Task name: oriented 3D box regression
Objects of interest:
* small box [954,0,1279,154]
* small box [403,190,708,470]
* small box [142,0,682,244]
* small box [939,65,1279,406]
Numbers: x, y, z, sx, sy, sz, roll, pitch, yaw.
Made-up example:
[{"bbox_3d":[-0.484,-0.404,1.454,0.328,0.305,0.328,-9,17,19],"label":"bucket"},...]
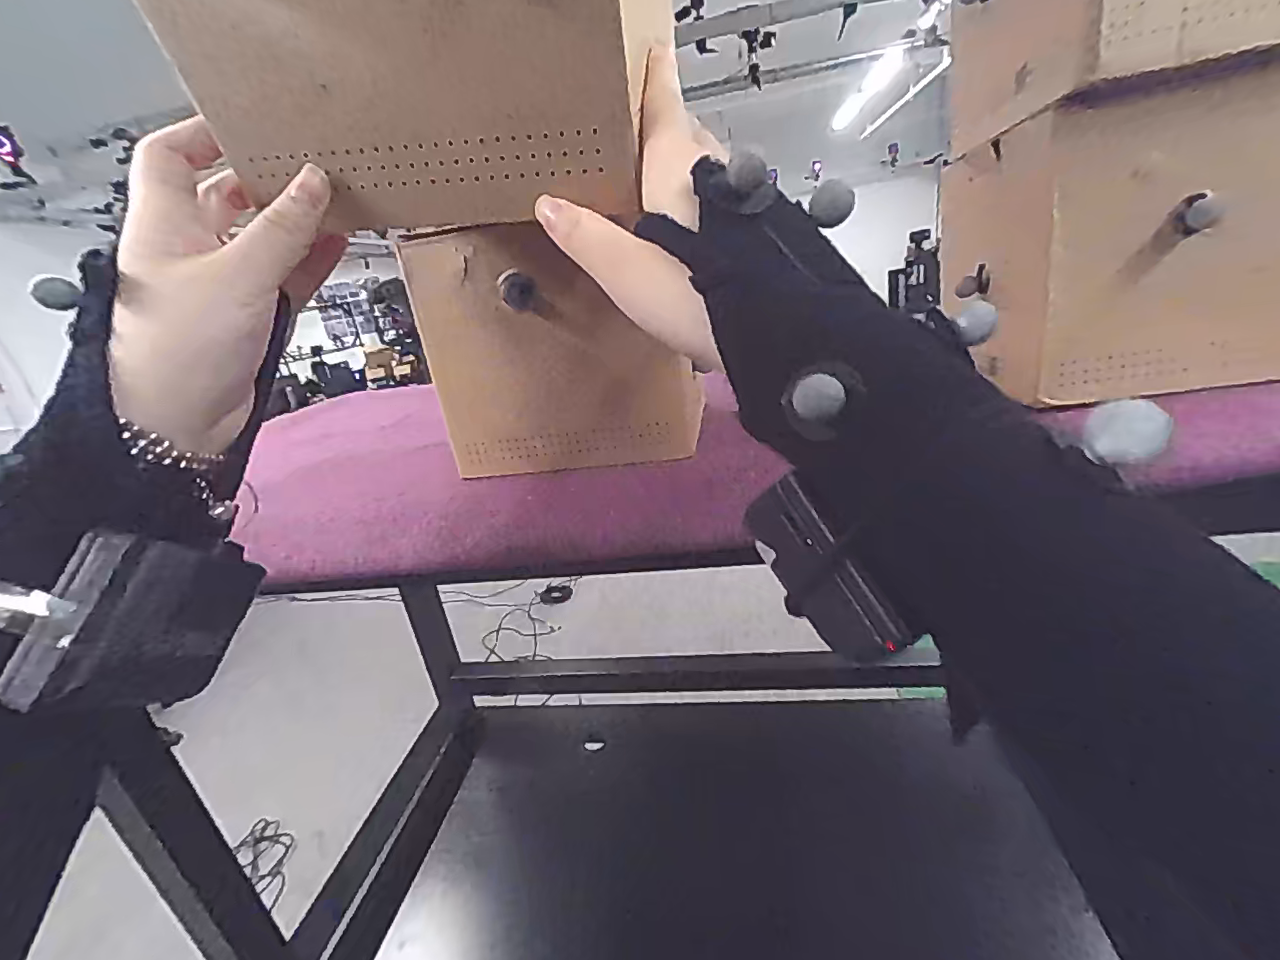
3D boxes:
[{"bbox_3d":[0.299,-0.302,0.307,0.179,0.176,0.168,-6,18,11],"label":"small box"},{"bbox_3d":[-0.046,-0.113,0.430,0.179,0.176,0.168,-4,21,11],"label":"small box"},{"bbox_3d":[-0.078,-0.217,0.228,0.179,0.176,0.168,1,46,11],"label":"small box"},{"bbox_3d":[0.327,-0.153,0.368,0.179,0.176,0.168,-7,18,12],"label":"small box"}]
